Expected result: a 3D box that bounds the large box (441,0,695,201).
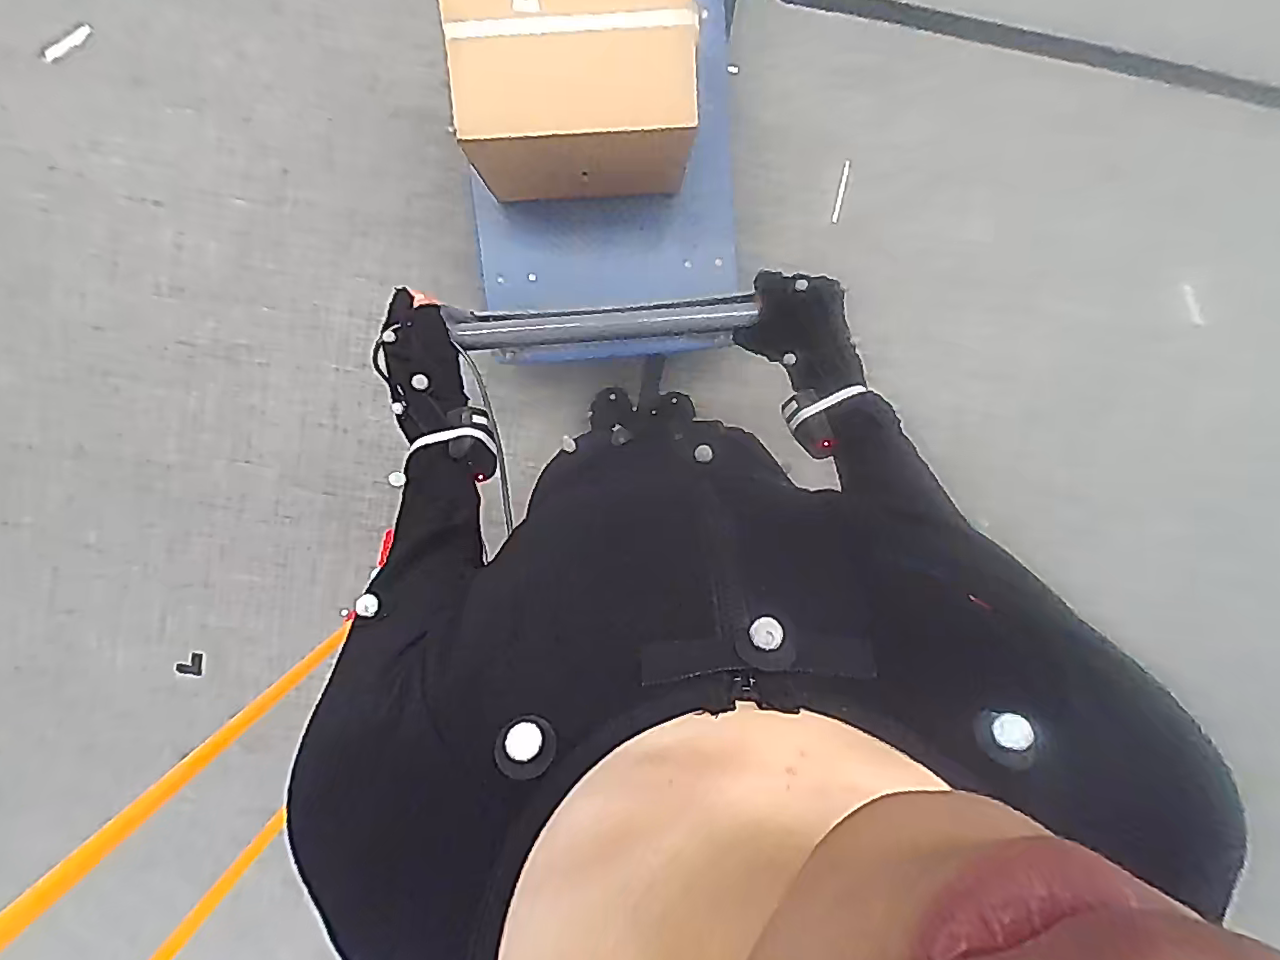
[{"bbox_3d":[-0.118,-0.749,1.021,0.408,0.320,0.320,-4,100,-1],"label":"large box"}]
